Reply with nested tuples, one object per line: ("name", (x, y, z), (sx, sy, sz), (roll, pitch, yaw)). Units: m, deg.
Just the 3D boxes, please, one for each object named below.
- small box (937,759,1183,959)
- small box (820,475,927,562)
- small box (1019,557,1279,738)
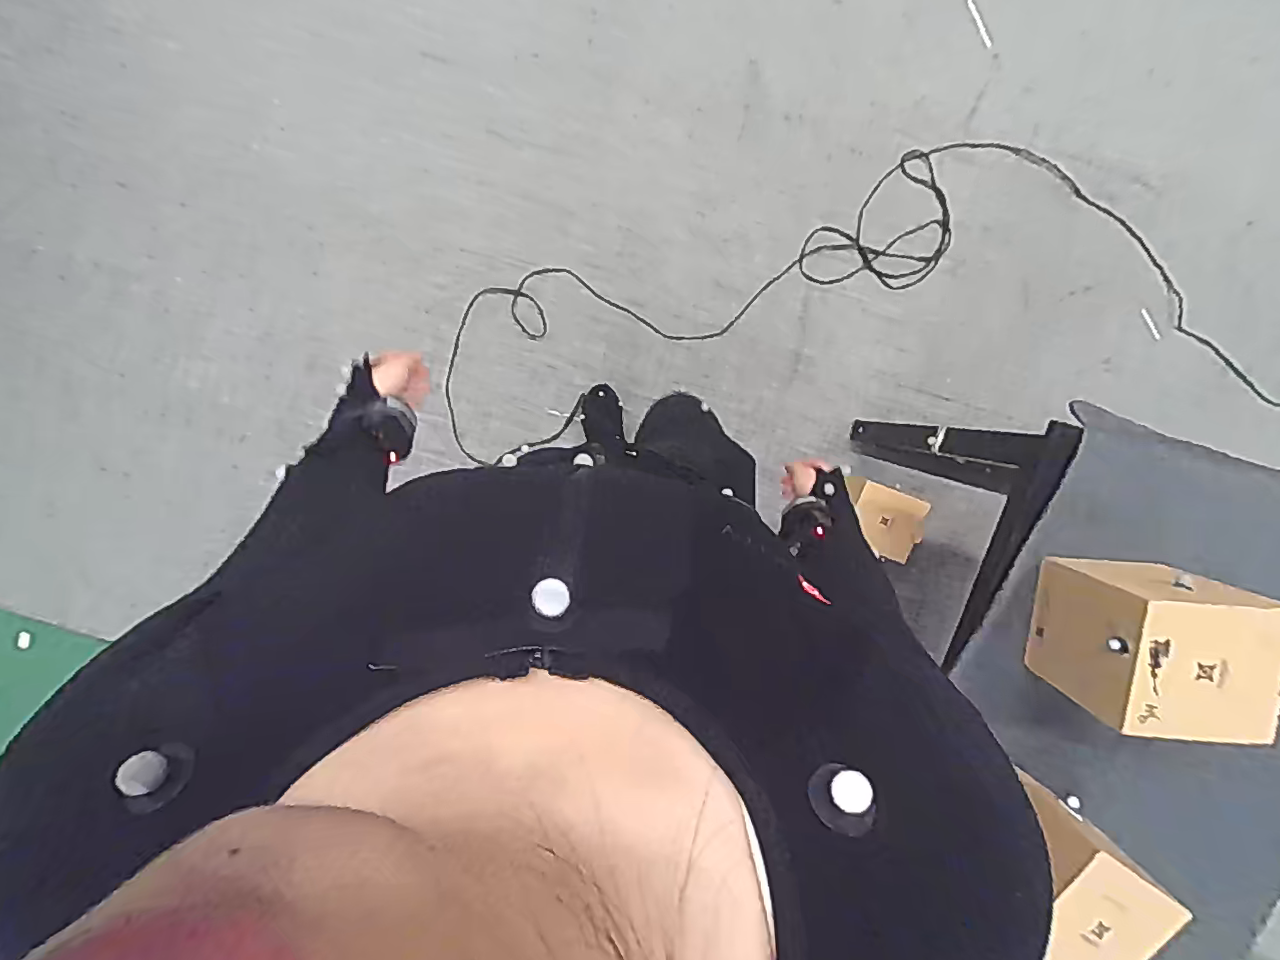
("small box", (0.549, 0.534, 0.740), (0.168, 0.176, 0.179), (36, 95, -8))
("small box", (0.600, 0.094, 1.415), (0.179, 0.176, 0.168), (20, 97, -3))
("small box", (0.639, 0.202, 0.692), (0.179, 0.176, 0.168), (4, 98, 0))
